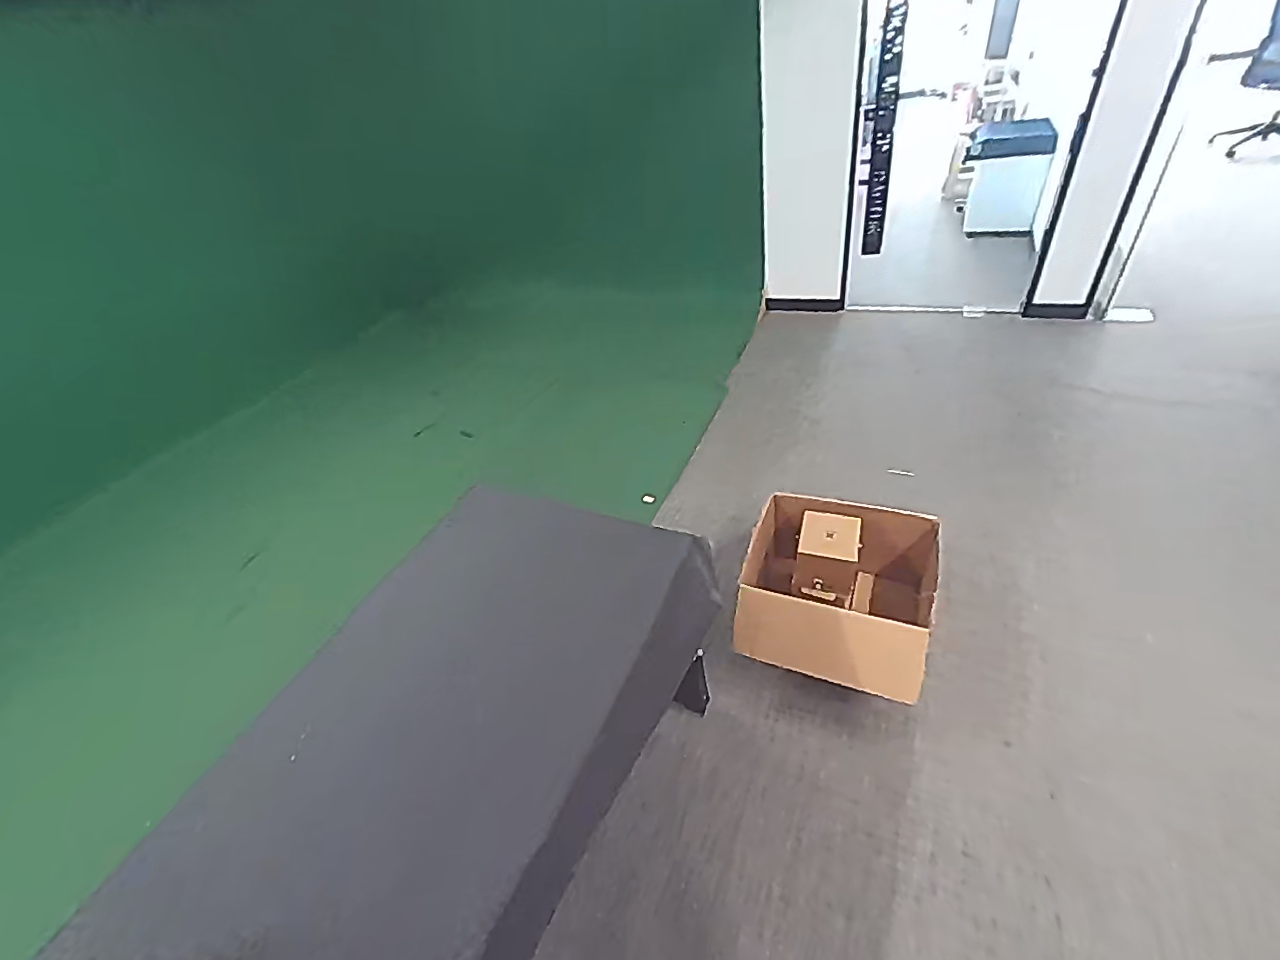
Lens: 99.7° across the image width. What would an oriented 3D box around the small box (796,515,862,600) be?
[{"bbox_3d":[0.568,0.234,1.635,0.168,0.176,0.179,8,45,19],"label":"small box"}]
